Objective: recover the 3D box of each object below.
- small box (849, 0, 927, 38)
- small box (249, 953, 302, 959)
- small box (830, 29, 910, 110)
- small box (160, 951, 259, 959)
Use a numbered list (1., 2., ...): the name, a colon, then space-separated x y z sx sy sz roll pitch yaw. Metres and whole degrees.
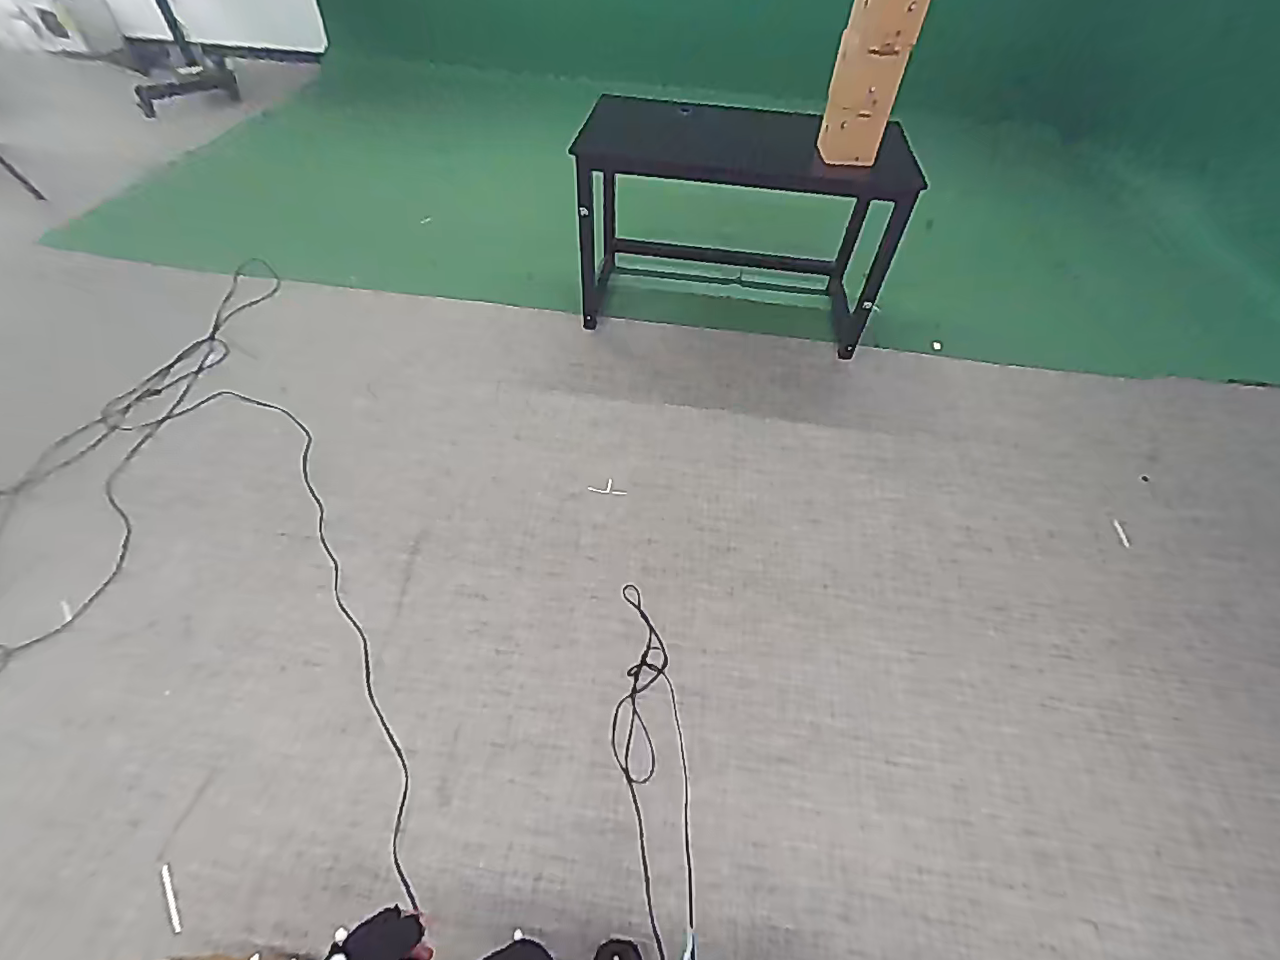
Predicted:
1. small box: 0.734 -1.418 1.578 0.168 0.176 0.179 2 50 -2
2. small box: -0.676 0.968 0.963 0.179 0.176 0.168 10 51 4
3. small box: 0.720 -1.305 1.718 0.168 0.176 0.179 1 51 -1
4. small box: -0.677 0.863 0.836 0.168 0.176 0.179 10 51 5
